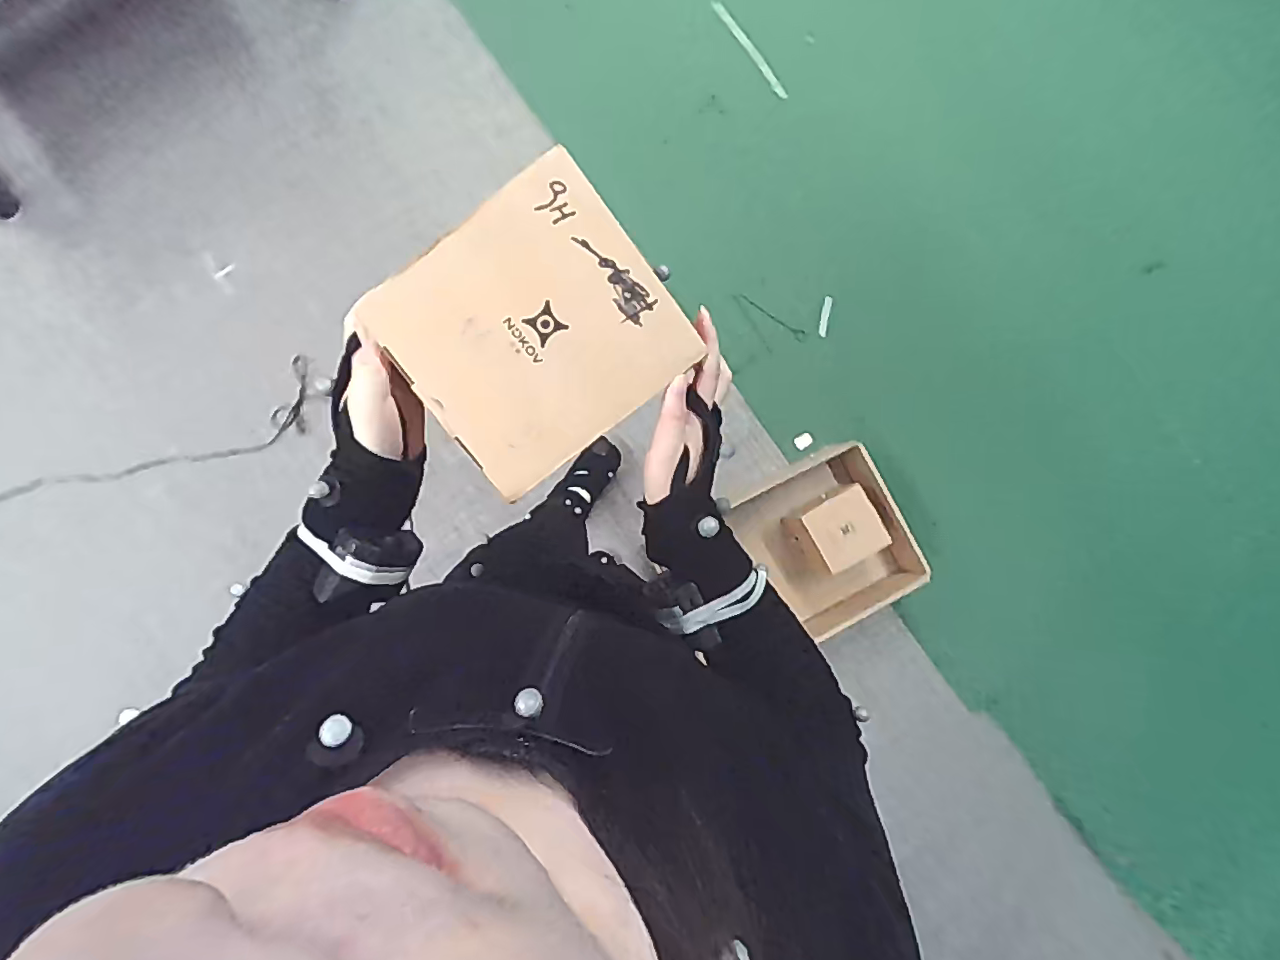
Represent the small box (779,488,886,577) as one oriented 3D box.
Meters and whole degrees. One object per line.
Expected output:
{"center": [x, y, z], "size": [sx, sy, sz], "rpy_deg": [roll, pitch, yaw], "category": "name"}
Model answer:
{"center": [0.494, 0.134, 1.412], "size": [0.179, 0.176, 0.168], "rpy_deg": [-27, 87, -5], "category": "small box"}
